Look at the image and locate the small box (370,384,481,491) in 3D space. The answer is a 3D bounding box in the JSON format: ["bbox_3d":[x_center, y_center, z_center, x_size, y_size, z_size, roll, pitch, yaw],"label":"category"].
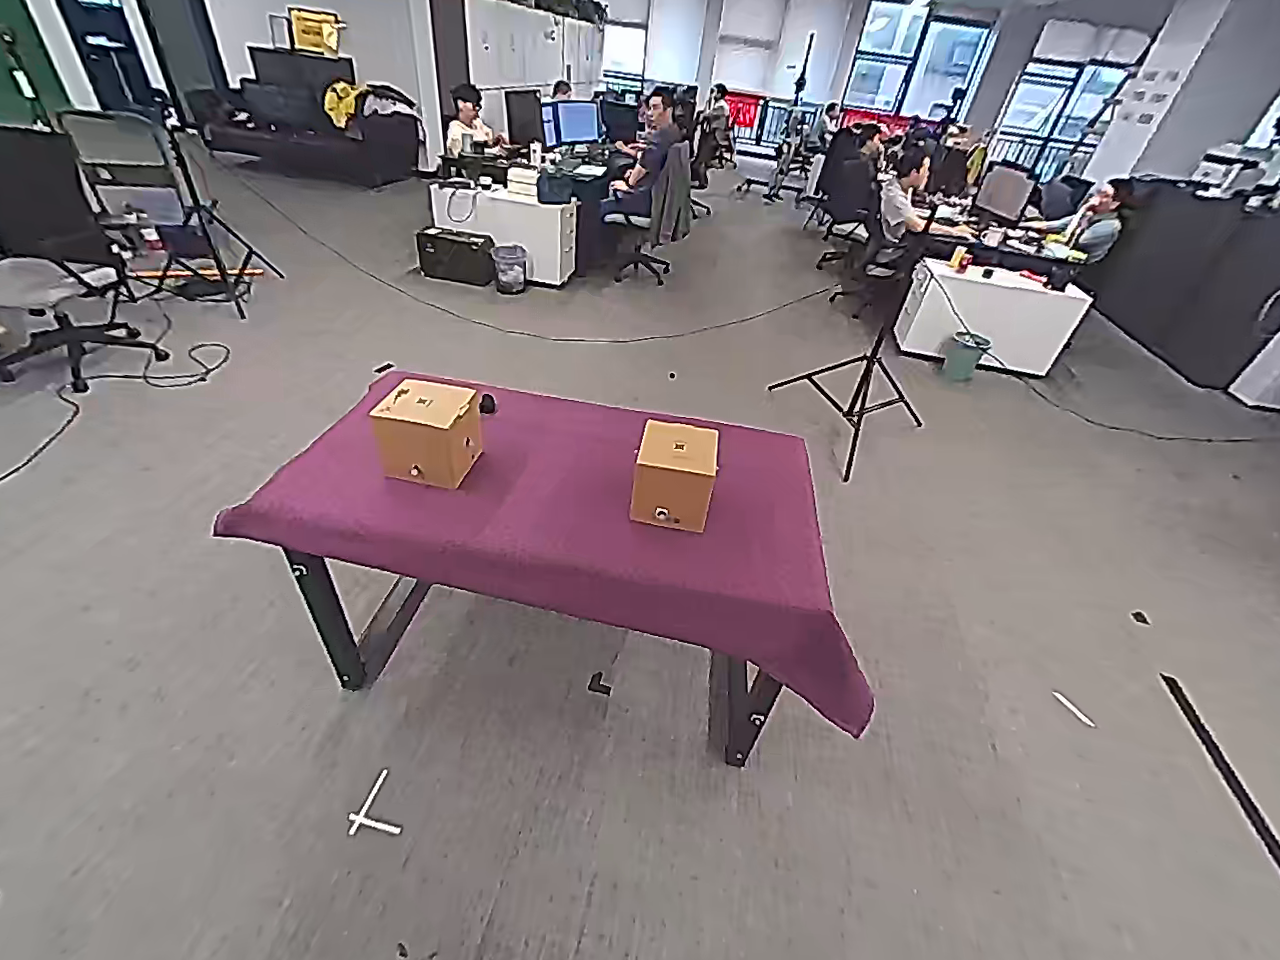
[{"bbox_3d":[-0.476,-0.095,1.235,0.179,0.176,0.168,11,38,3],"label":"small box"}]

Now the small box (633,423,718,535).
[{"bbox_3d":[0.078,-0.003,1.215,0.168,0.176,0.179,8,38,3],"label":"small box"}]
